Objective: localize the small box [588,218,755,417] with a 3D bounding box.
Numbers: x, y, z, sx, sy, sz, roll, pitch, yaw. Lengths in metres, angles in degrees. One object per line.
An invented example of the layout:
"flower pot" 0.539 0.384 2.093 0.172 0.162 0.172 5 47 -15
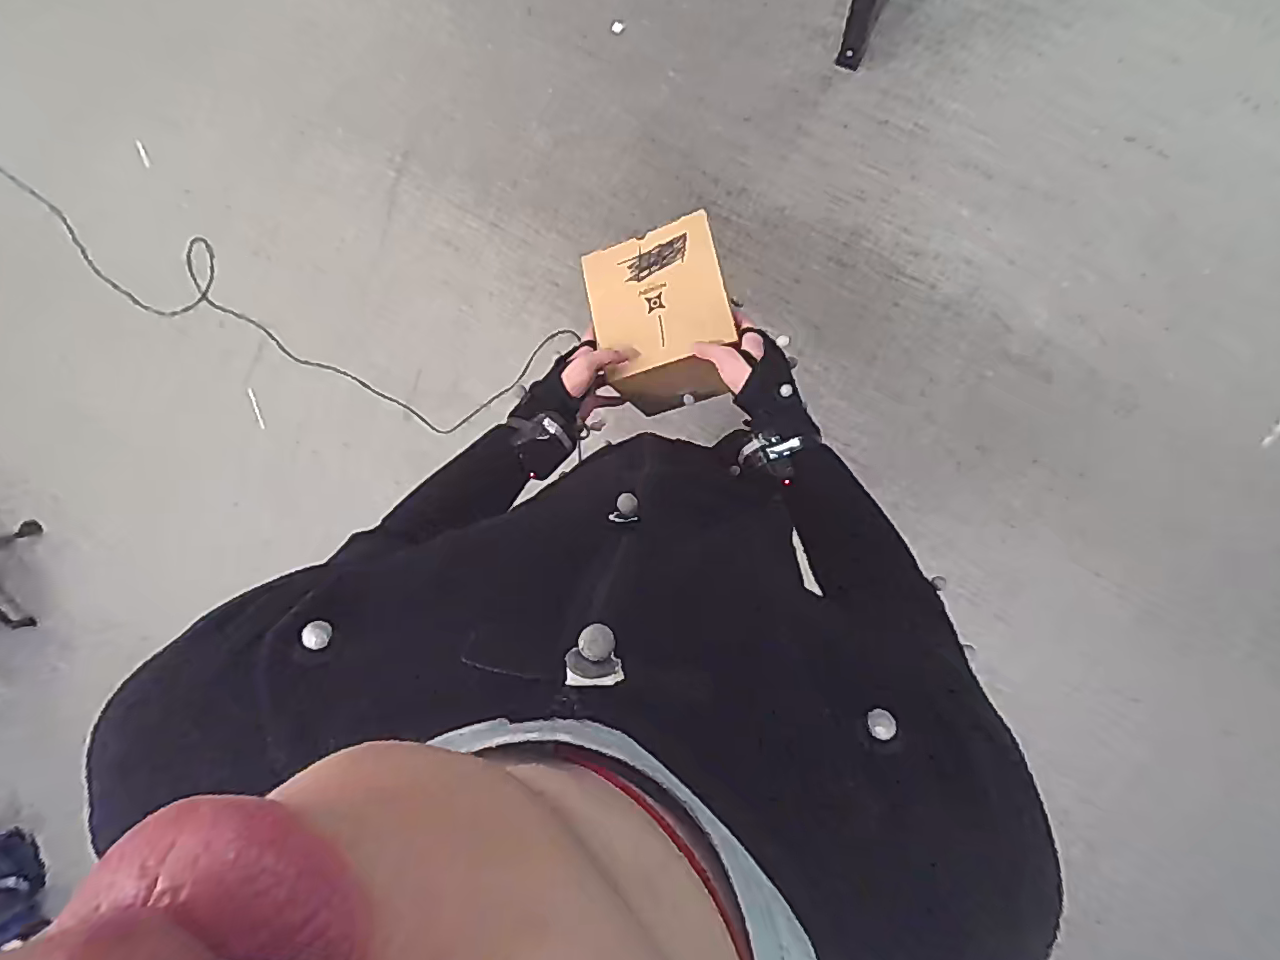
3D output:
"small box" 0.048 -0.205 0.731 0.168 0.176 0.179 -15 77 18
